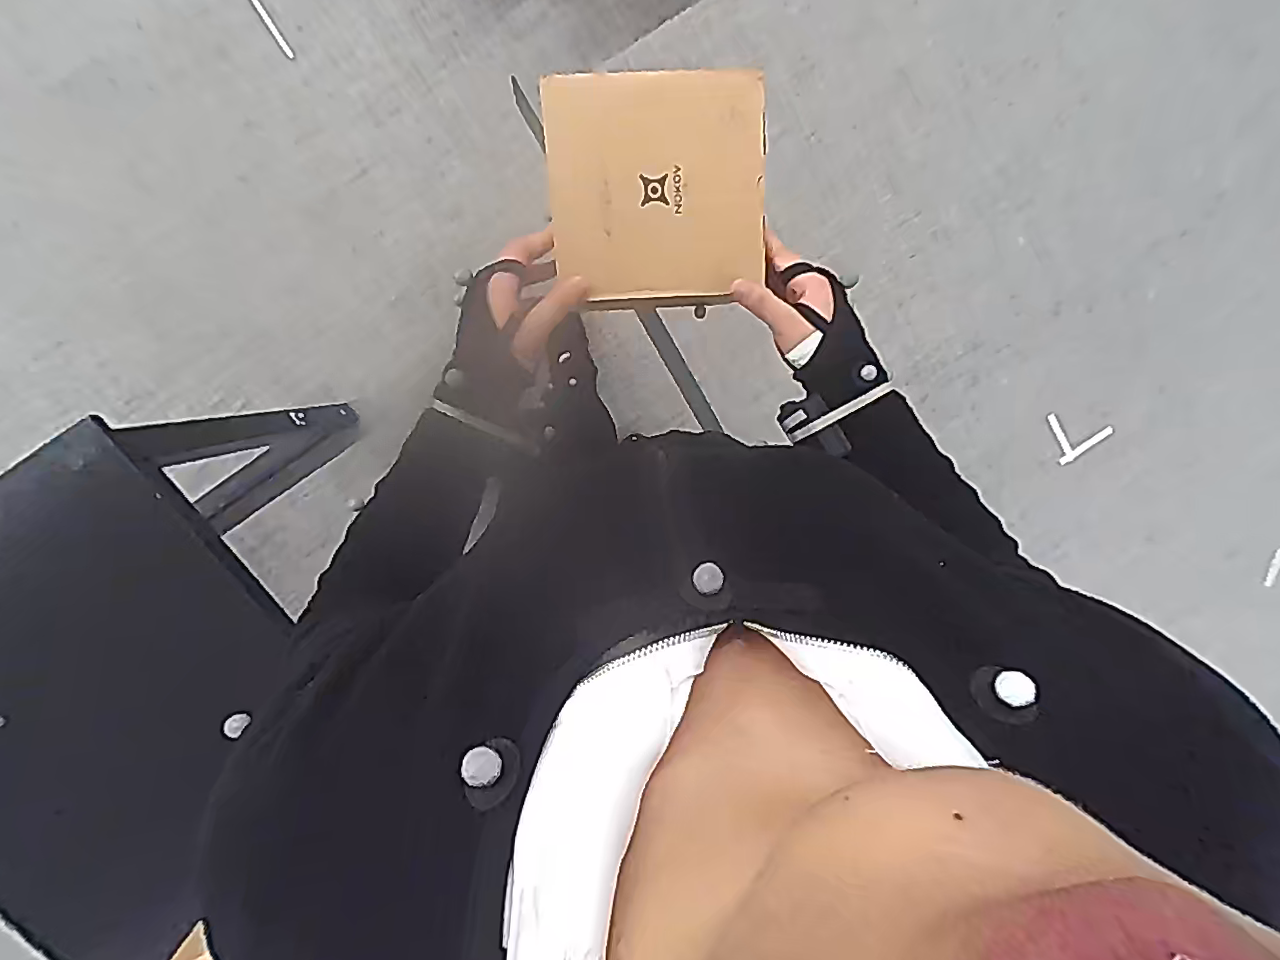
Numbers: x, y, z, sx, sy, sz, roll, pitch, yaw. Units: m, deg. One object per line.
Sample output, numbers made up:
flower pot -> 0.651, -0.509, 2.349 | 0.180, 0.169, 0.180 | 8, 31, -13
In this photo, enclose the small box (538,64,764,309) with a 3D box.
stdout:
small box -> 0.009, -0.256, 0.510 | 0.179, 0.176, 0.168 | -4, 104, -1
